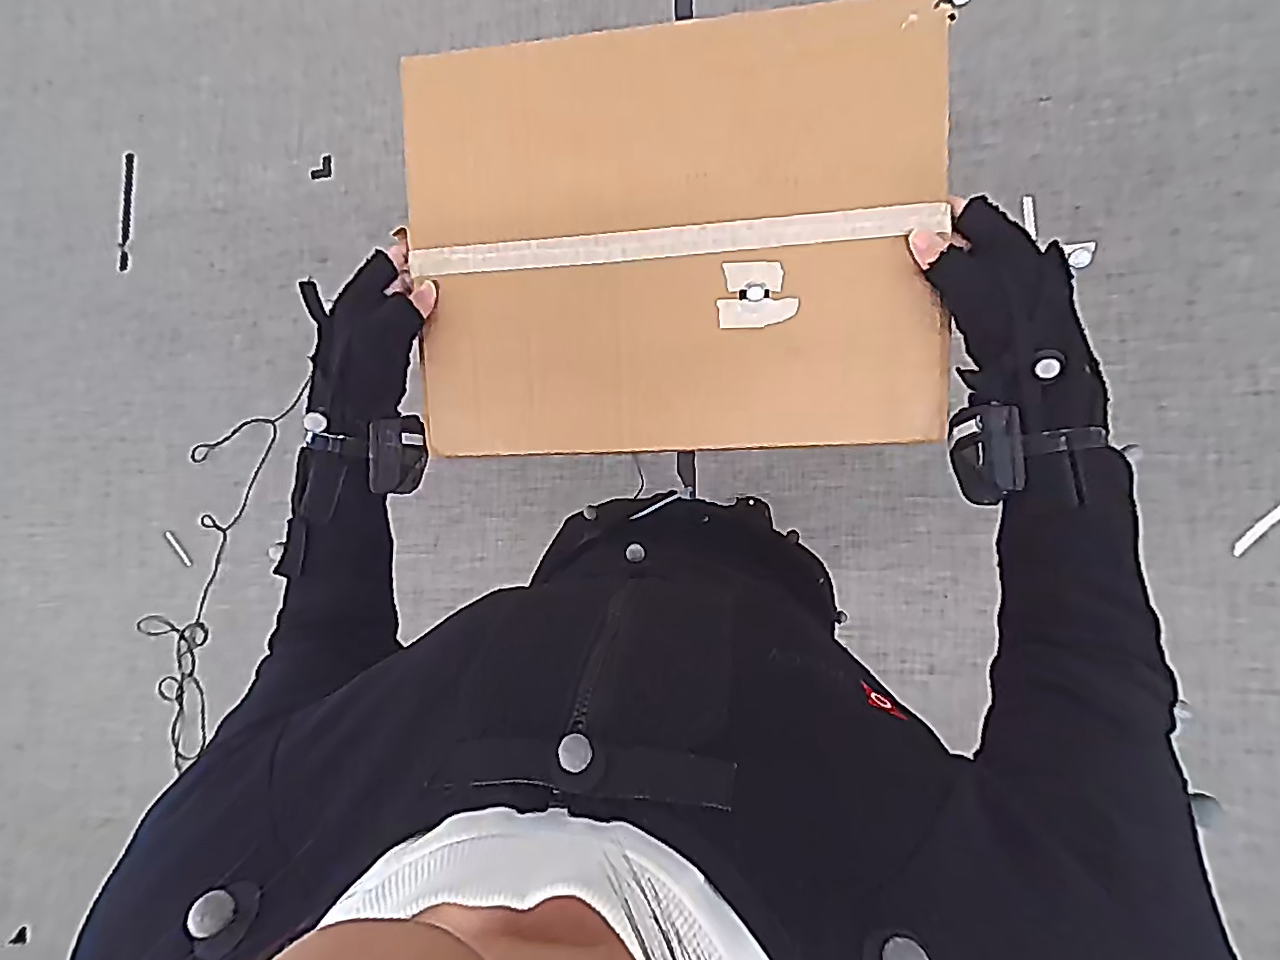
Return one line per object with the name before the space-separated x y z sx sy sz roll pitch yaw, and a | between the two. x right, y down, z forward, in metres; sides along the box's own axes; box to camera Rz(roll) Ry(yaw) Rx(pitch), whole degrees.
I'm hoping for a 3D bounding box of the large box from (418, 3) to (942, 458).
large box | 0.040 -0.193 0.570 0.408 0.320 0.320 -2 95 7
